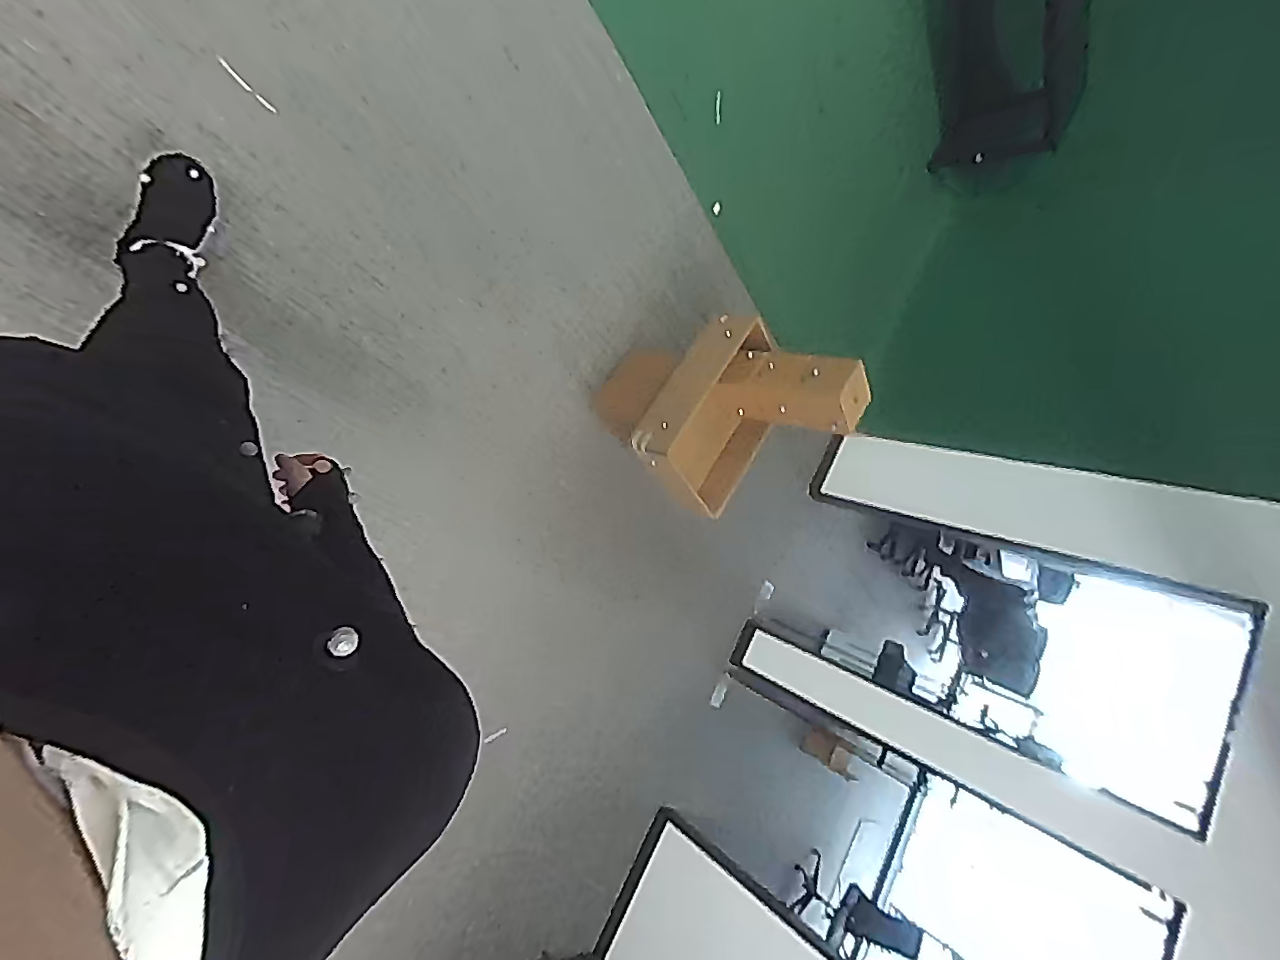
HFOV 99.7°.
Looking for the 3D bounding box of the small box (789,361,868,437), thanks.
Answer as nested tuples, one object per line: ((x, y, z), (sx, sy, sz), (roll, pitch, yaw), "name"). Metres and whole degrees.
((0.605, -0.266, 1.735), (0.168, 0.176, 0.179), (-55, 134, -19), "small box")

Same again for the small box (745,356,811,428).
((0.487, -0.305, 1.844), (0.168, 0.176, 0.179), (-55, 134, -18), "small box")
